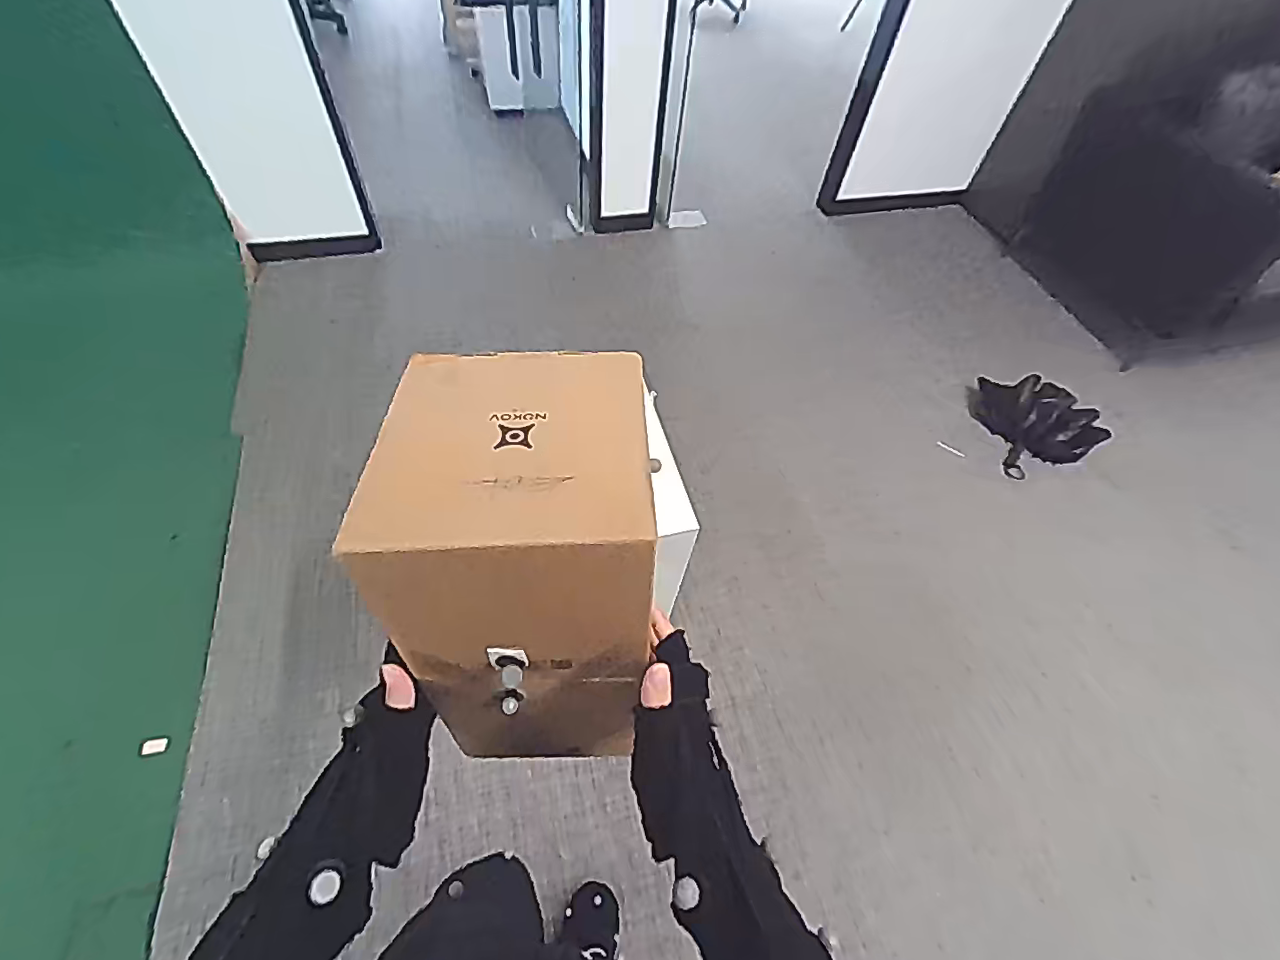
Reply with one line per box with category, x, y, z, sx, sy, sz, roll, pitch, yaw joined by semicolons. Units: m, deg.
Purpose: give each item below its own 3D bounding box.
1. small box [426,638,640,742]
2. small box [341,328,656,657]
small box;-0.085;0.133;0.525;0.168;0.176;0.179;0;46;-2
small box;-0.081;0.008;0.396;0.168;0.176;0.179;-3;47;-4
